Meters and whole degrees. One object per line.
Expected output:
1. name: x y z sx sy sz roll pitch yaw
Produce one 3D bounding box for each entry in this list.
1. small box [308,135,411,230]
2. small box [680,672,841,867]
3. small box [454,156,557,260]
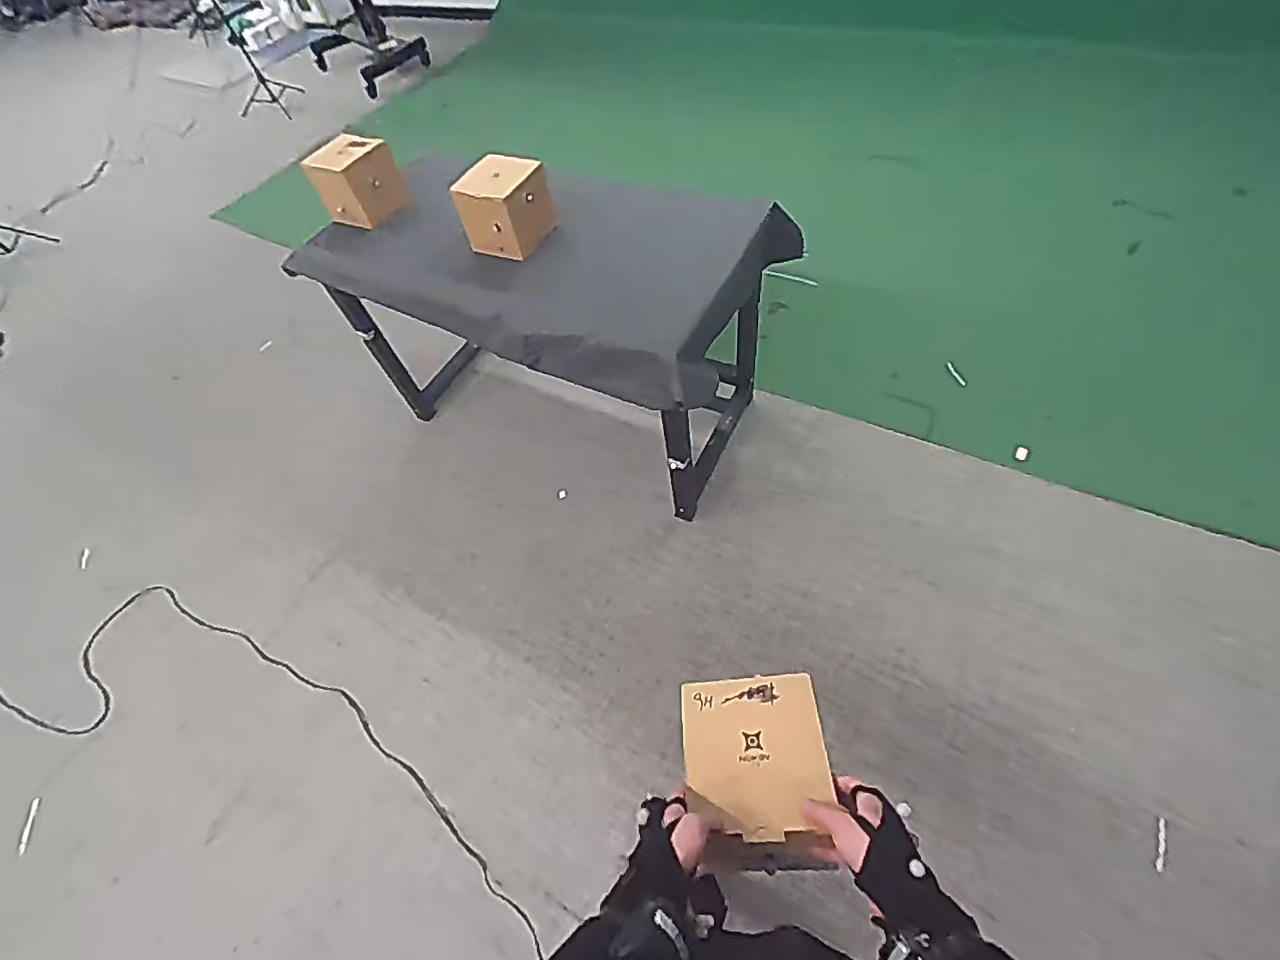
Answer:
1. small box: -0.792 -0.853 1.553 0.168 0.176 0.179 20 61 20
2. small box: 0.147 0.362 0.669 0.168 0.176 0.179 -9 43 10
3. small box: -0.332 -0.691 1.380 0.168 0.176 0.179 20 60 19
